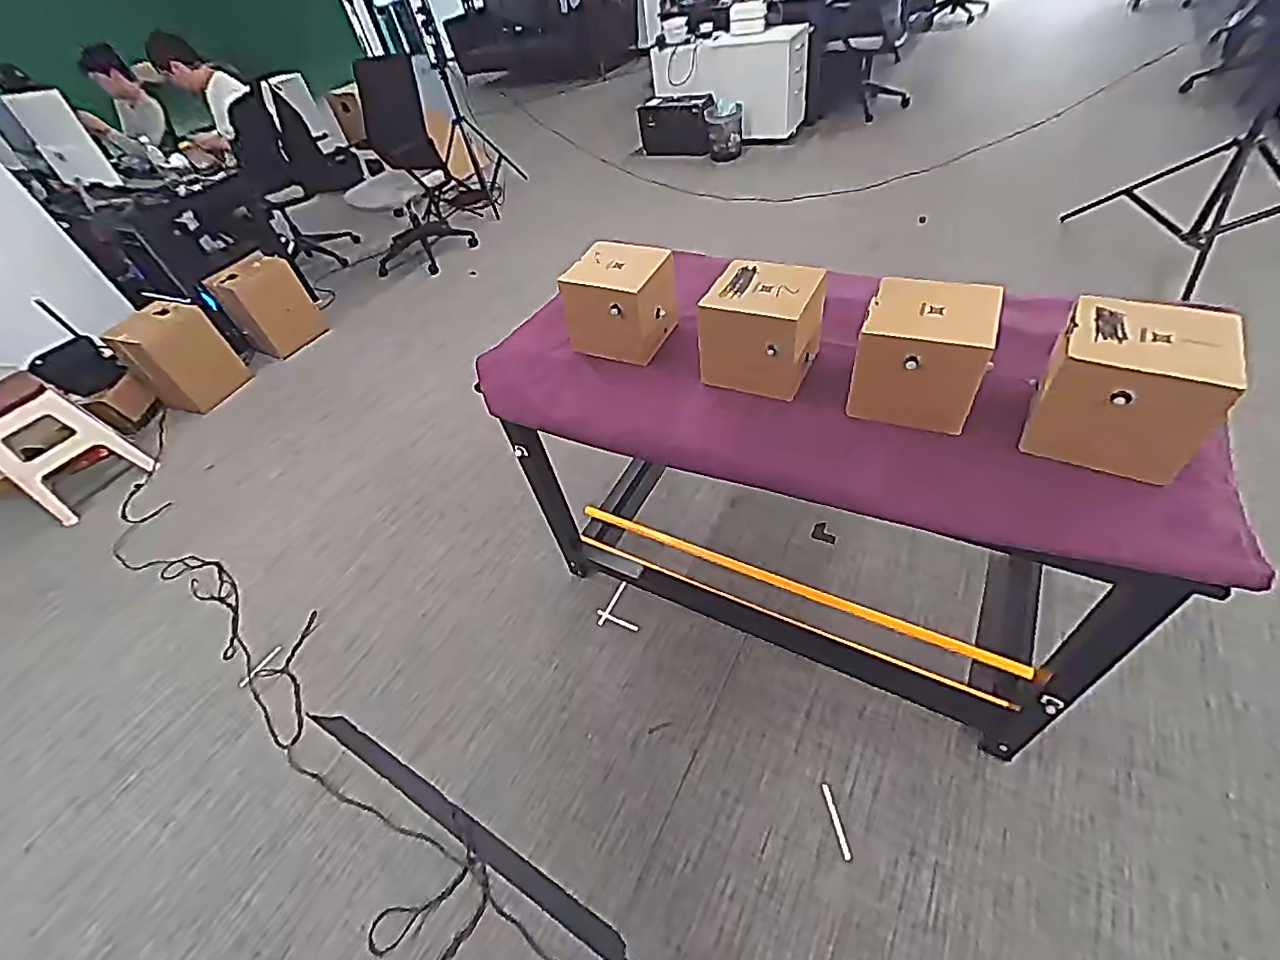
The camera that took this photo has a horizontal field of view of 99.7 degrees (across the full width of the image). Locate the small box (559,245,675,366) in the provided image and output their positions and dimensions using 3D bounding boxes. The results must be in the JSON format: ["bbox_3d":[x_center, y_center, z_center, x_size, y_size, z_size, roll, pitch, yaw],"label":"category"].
[{"bbox_3d":[-0.036,-0.357,1.117,0.179,0.176,0.168,17,53,22],"label":"small box"}]

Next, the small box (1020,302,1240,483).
[{"bbox_3d":[0.664,-0.120,0.751,0.179,0.176,0.168,21,54,27],"label":"small box"}]

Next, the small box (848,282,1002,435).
[{"bbox_3d":[0.450,-0.194,0.870,0.179,0.176,0.168,15,53,25],"label":"small box"}]
